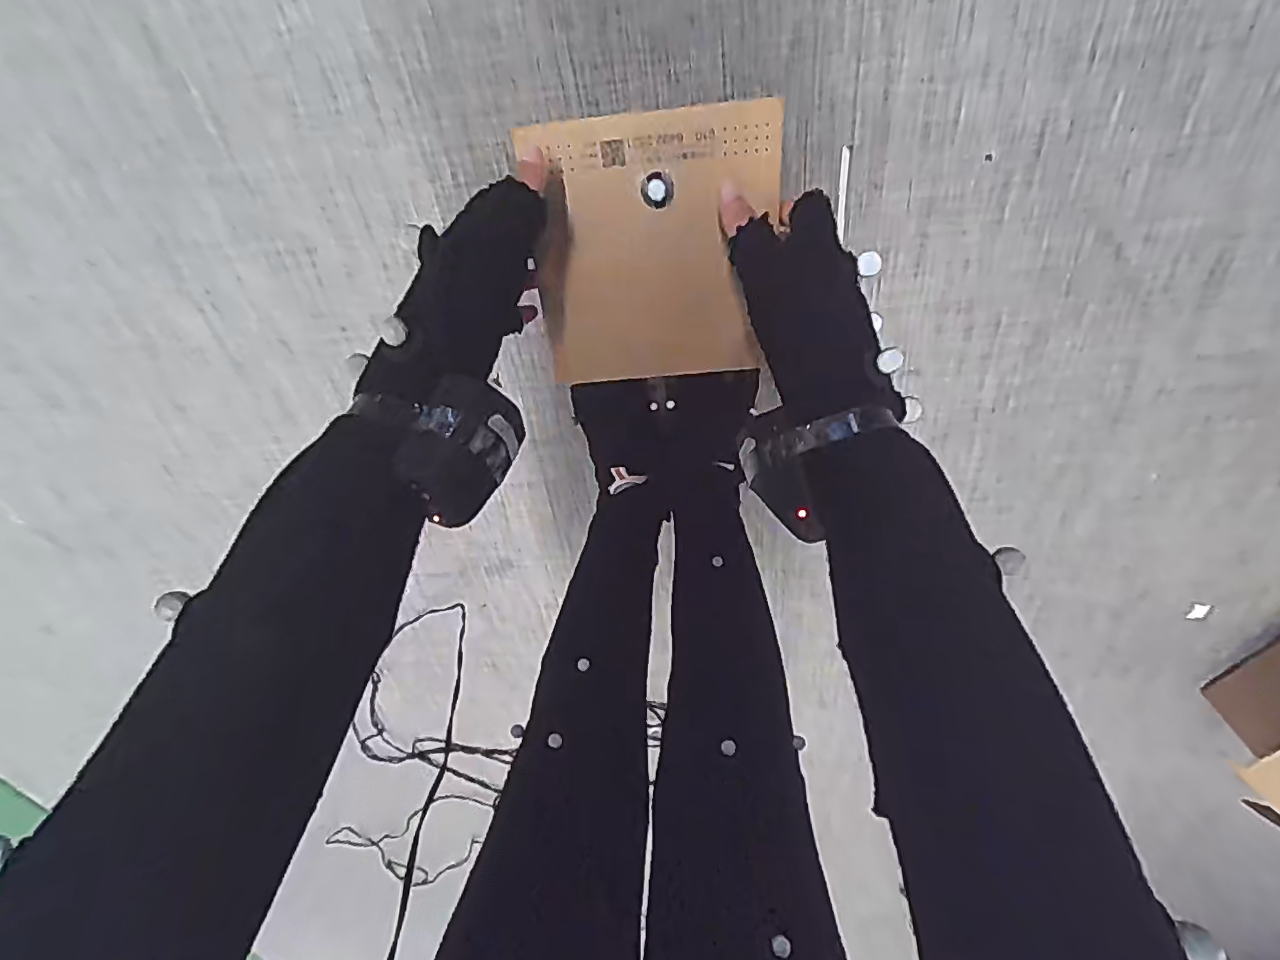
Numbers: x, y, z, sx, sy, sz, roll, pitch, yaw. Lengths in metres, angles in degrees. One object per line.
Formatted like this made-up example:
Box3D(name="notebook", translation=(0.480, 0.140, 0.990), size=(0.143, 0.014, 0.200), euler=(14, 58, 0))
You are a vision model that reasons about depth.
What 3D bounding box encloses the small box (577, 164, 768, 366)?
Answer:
Box3D(name="small box", translation=(0.043, -0.248, 0.613), size=(0.179, 0.176, 0.168), euler=(-6, 122, 11))
